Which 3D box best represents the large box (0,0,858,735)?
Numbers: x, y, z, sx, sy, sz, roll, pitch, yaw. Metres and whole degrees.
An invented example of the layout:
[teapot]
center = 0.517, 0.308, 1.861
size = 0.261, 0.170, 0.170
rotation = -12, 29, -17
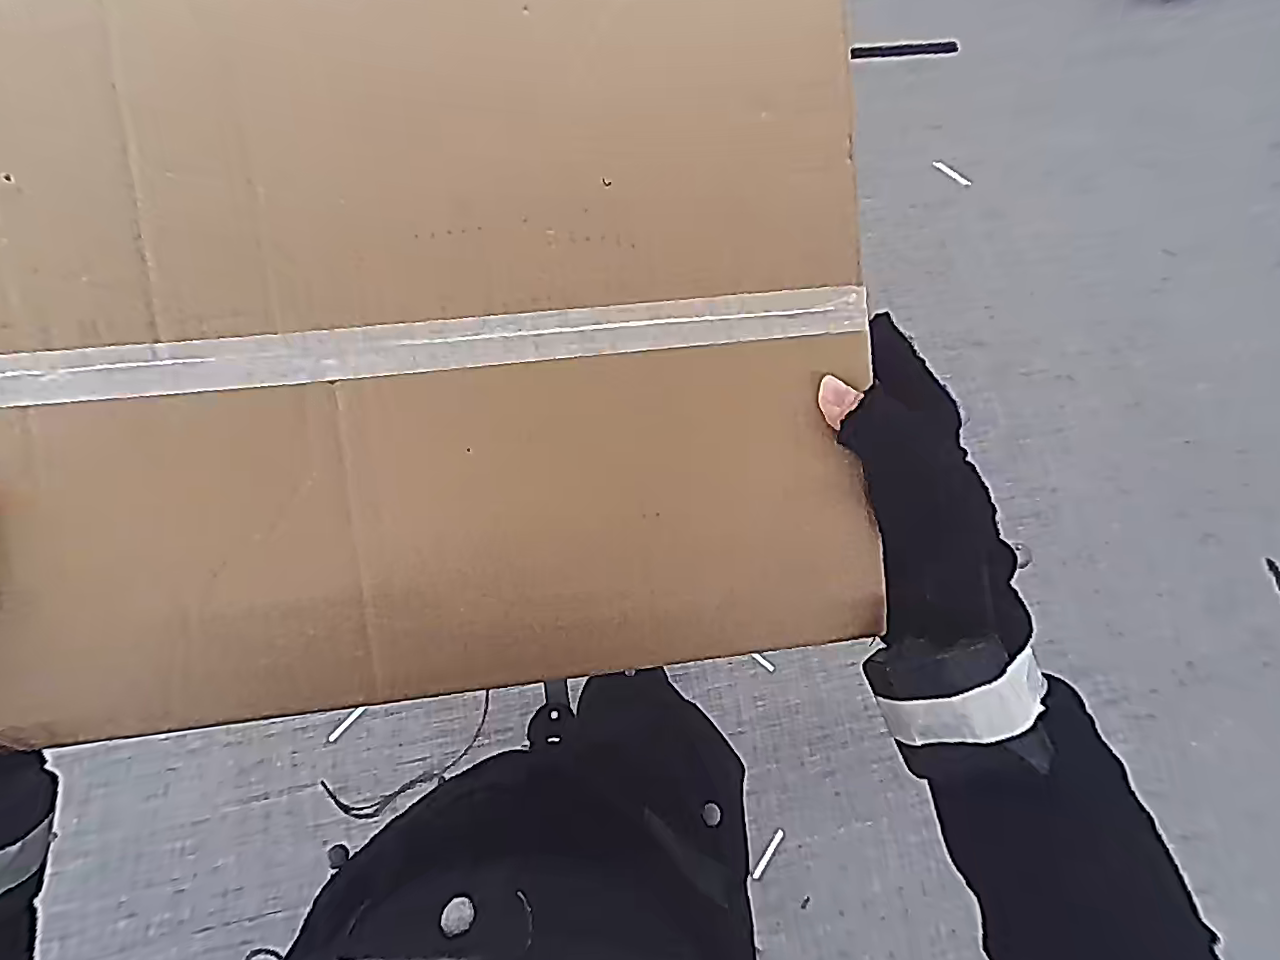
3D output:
[large box]
center = -0.110, -0.069, 0.395
size = 0.408, 0.320, 0.320
rotation = -5, 94, -5
